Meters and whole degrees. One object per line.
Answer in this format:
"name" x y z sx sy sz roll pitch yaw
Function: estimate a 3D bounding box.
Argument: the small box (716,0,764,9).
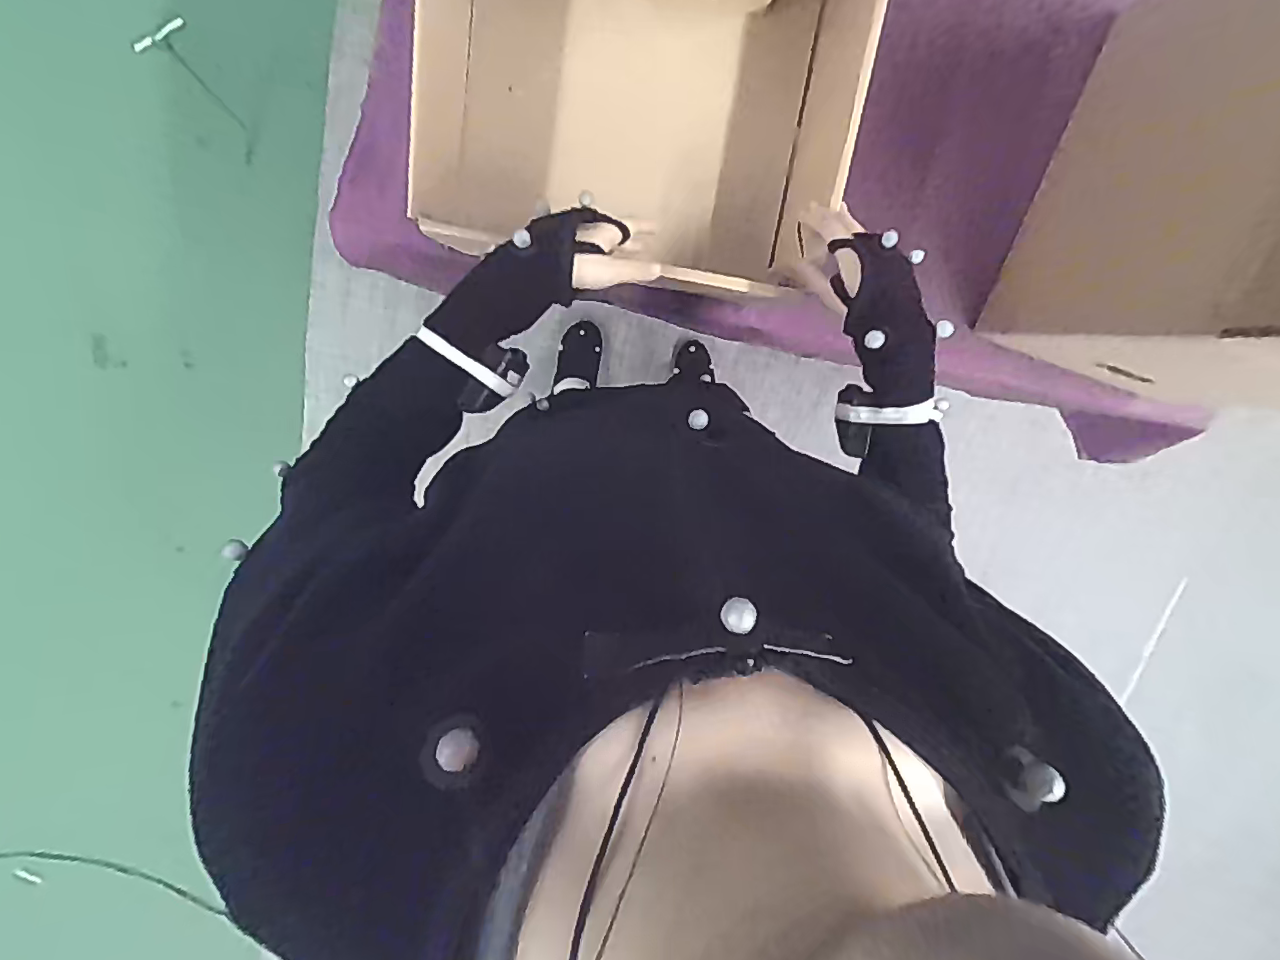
"small box" 0.067 -0.569 0.477 0.168 0.176 0.179 5 106 -5
